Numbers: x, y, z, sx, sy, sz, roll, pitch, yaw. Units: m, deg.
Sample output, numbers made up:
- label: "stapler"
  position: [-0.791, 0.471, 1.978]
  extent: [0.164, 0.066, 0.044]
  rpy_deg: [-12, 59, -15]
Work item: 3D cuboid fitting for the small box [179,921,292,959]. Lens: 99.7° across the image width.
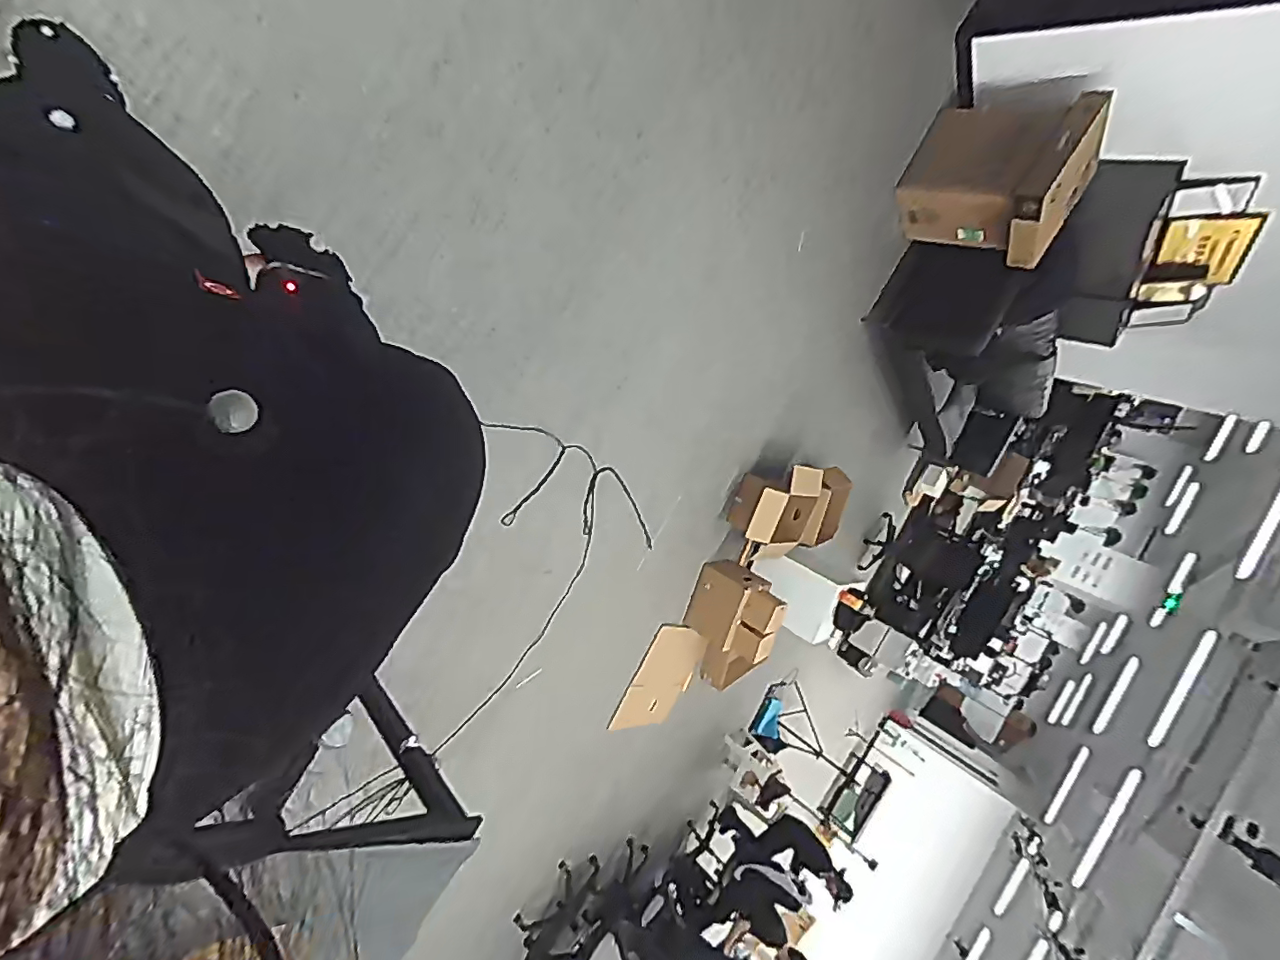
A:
- label: "small box"
  position: [-0.704, 0.907, 0.908]
  extent: [0.179, 0.176, 0.168]
  rpy_deg: [-59, 143, -4]
